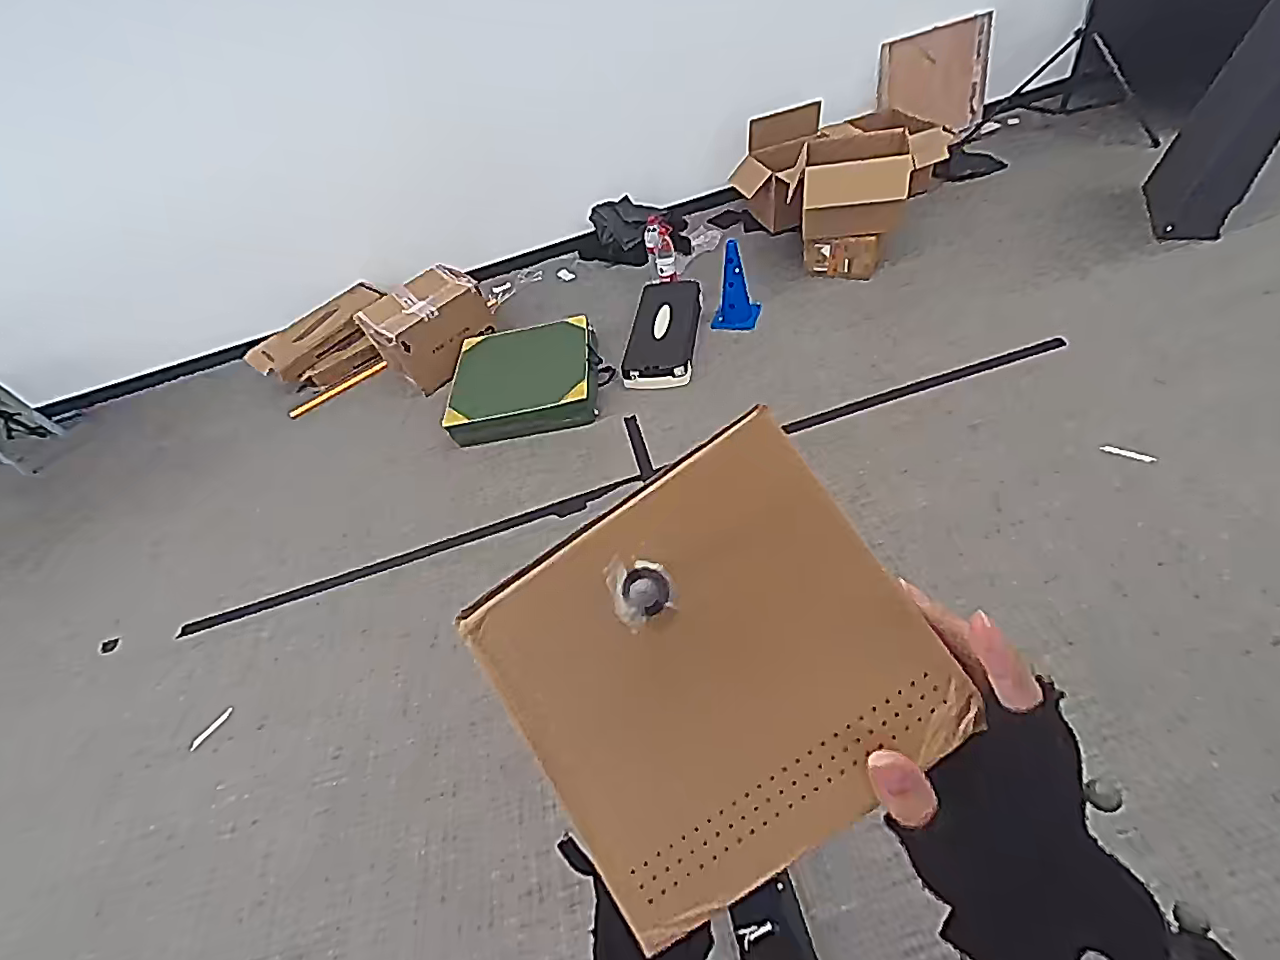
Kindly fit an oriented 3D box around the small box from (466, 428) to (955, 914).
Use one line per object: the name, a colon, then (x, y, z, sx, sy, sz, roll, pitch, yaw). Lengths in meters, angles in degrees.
small box: (0.039, 0.099, 0.328, 0.179, 0.168, 0.176, -36, 81, 3)
